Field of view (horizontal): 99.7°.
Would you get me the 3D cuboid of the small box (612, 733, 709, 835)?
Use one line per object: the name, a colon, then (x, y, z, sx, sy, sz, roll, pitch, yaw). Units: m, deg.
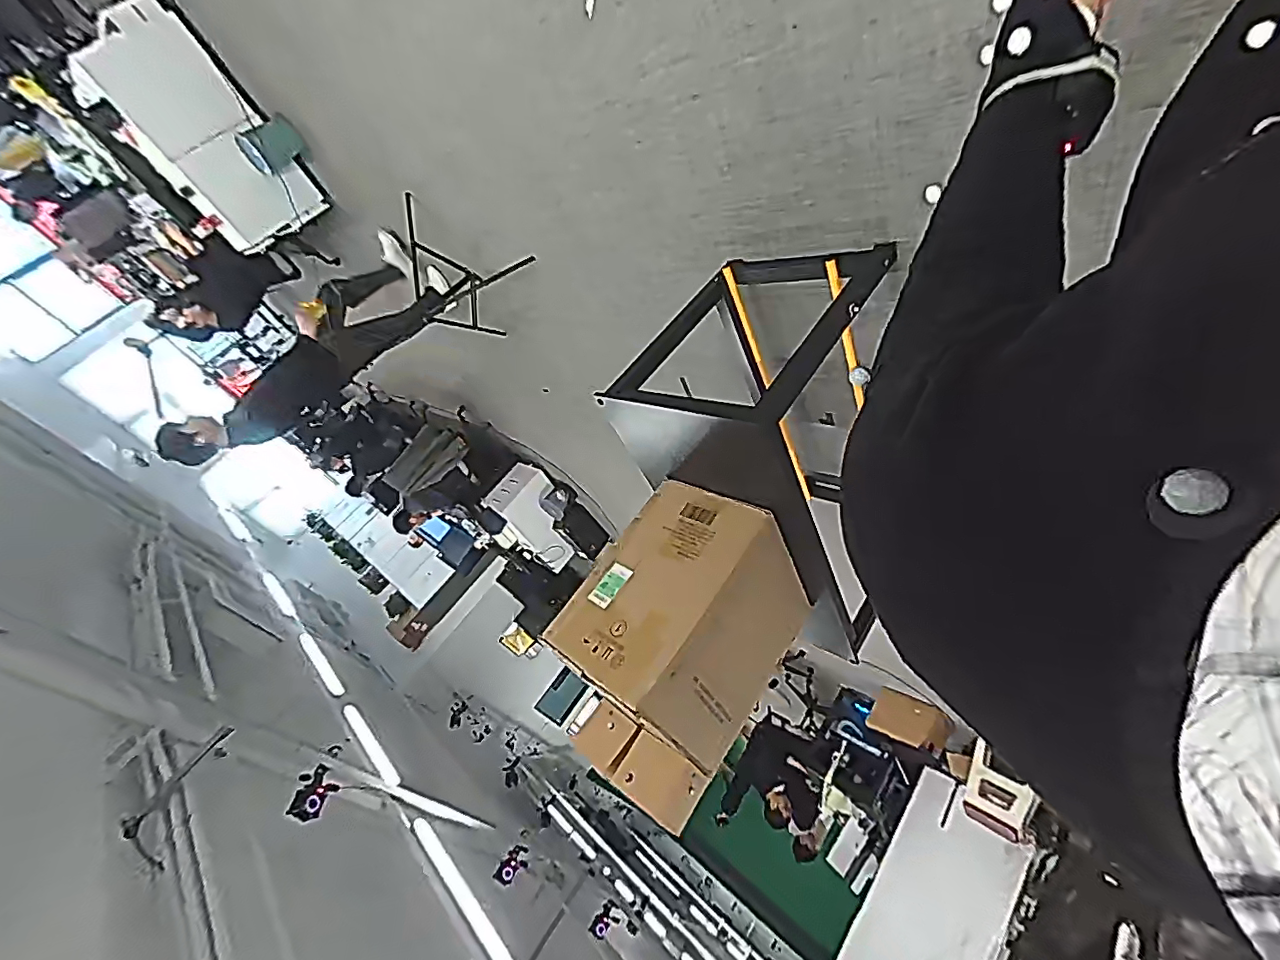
small box: (0.062, 0.832, 1.500, 0.179, 0.176, 0.168, 14, 148, 42)

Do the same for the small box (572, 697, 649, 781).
small box: (-0.068, 0.803, 1.649, 0.168, 0.176, 0.179, 20, 151, 44)
